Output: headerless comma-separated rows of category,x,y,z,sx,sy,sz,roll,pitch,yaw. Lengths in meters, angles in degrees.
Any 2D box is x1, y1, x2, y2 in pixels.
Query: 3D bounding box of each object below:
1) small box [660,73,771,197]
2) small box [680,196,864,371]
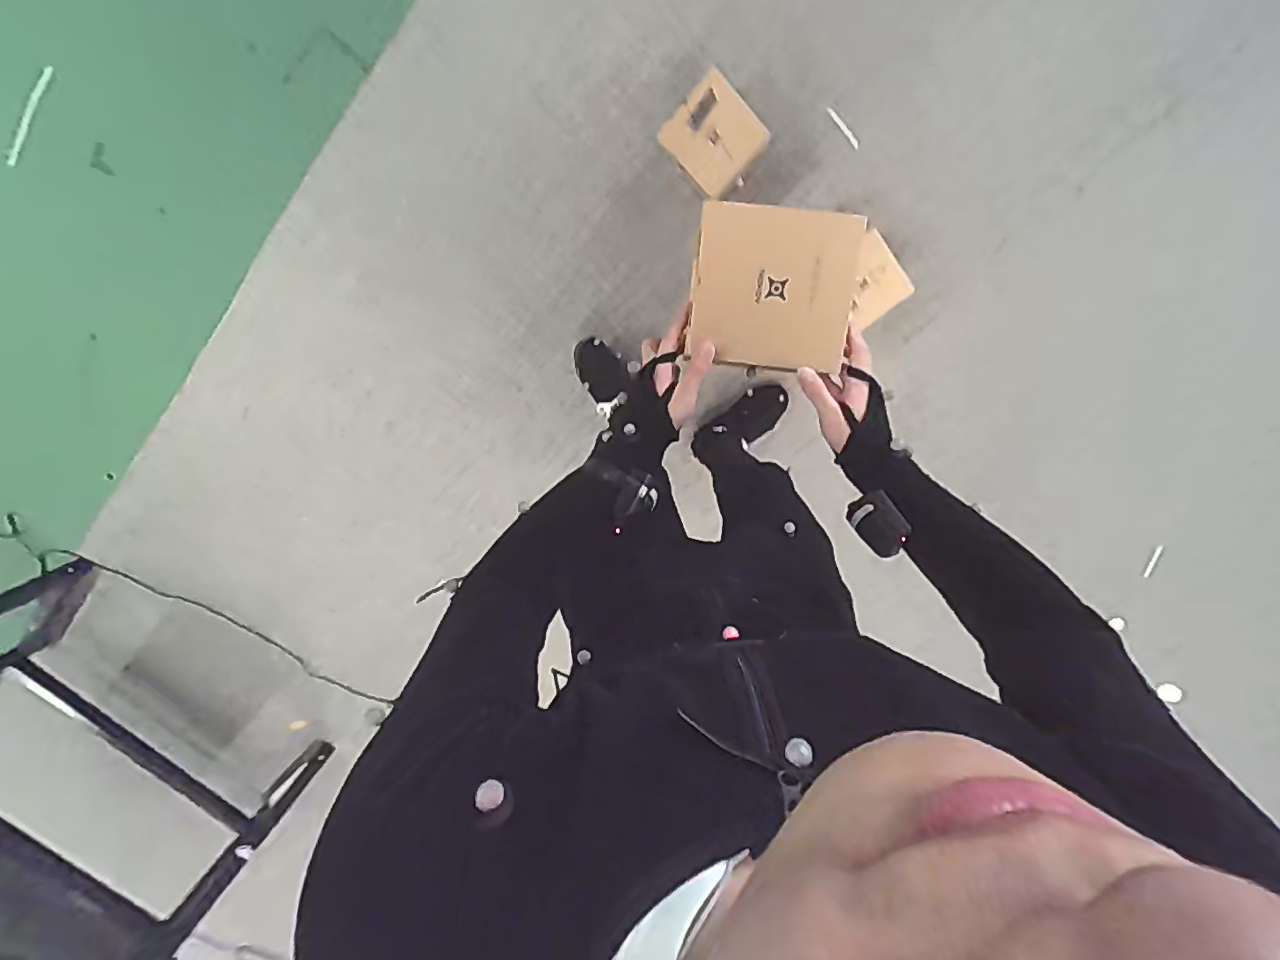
small box,0.164,-0.736,1.198,0.179,0.176,0.168,44,109,-10
small box,0.144,-0.225,0.658,0.179,0.176,0.168,6,101,1
